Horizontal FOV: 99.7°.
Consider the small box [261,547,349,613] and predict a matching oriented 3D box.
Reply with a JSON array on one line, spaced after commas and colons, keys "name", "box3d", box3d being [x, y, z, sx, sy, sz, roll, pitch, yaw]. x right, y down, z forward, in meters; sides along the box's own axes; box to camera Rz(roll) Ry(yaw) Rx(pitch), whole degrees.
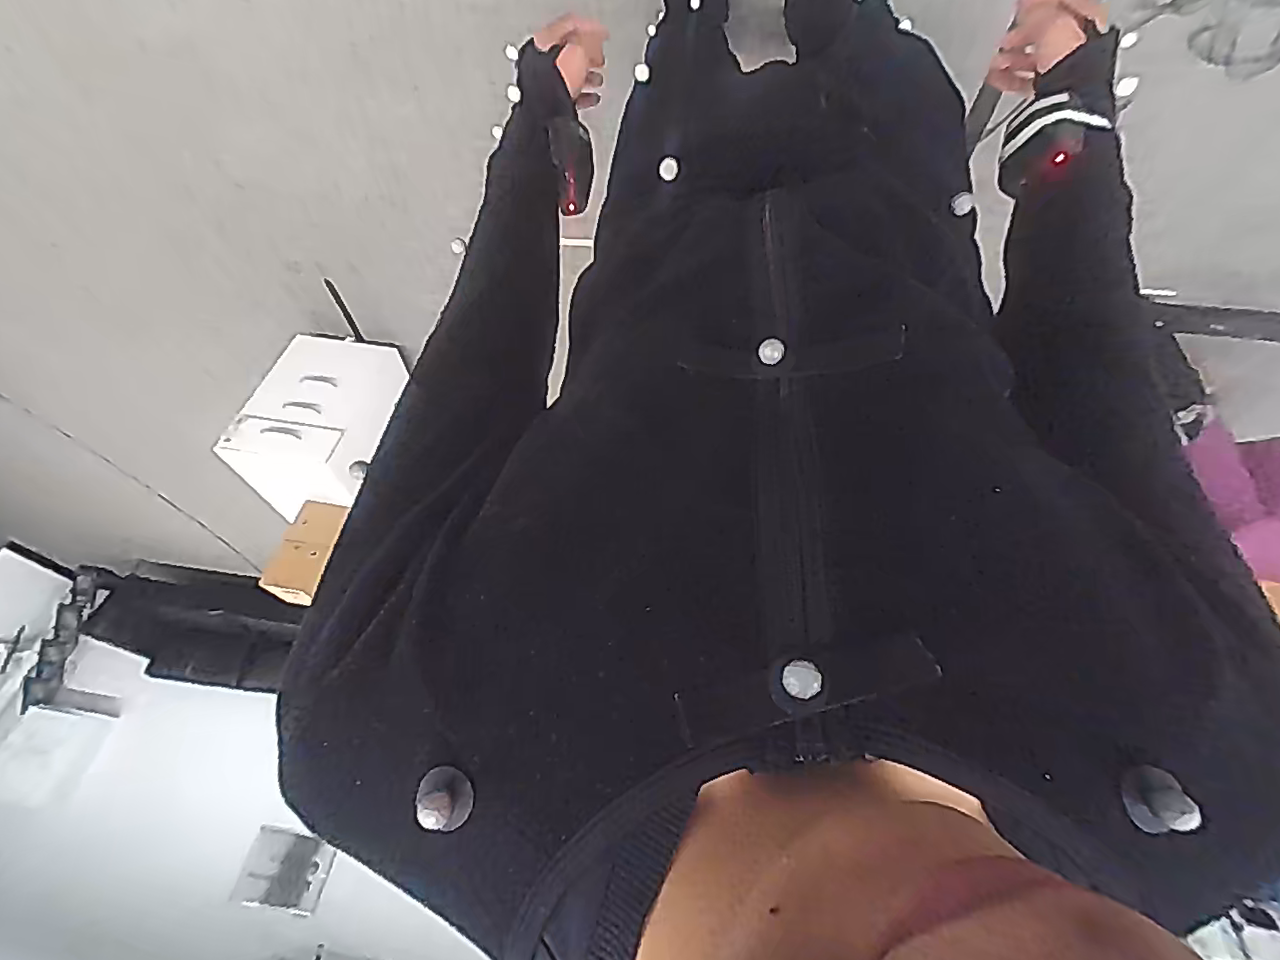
[{"name": "small box", "box3d": [-1.173, 0.351, 1.906, 0.168, 0.176, 0.179, 8, 149, 6]}]

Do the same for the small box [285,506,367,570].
[{"name": "small box", "box3d": [-1.148, 0.212, 1.991, 0.179, 0.176, 0.168, 9, 147, 2]}]
